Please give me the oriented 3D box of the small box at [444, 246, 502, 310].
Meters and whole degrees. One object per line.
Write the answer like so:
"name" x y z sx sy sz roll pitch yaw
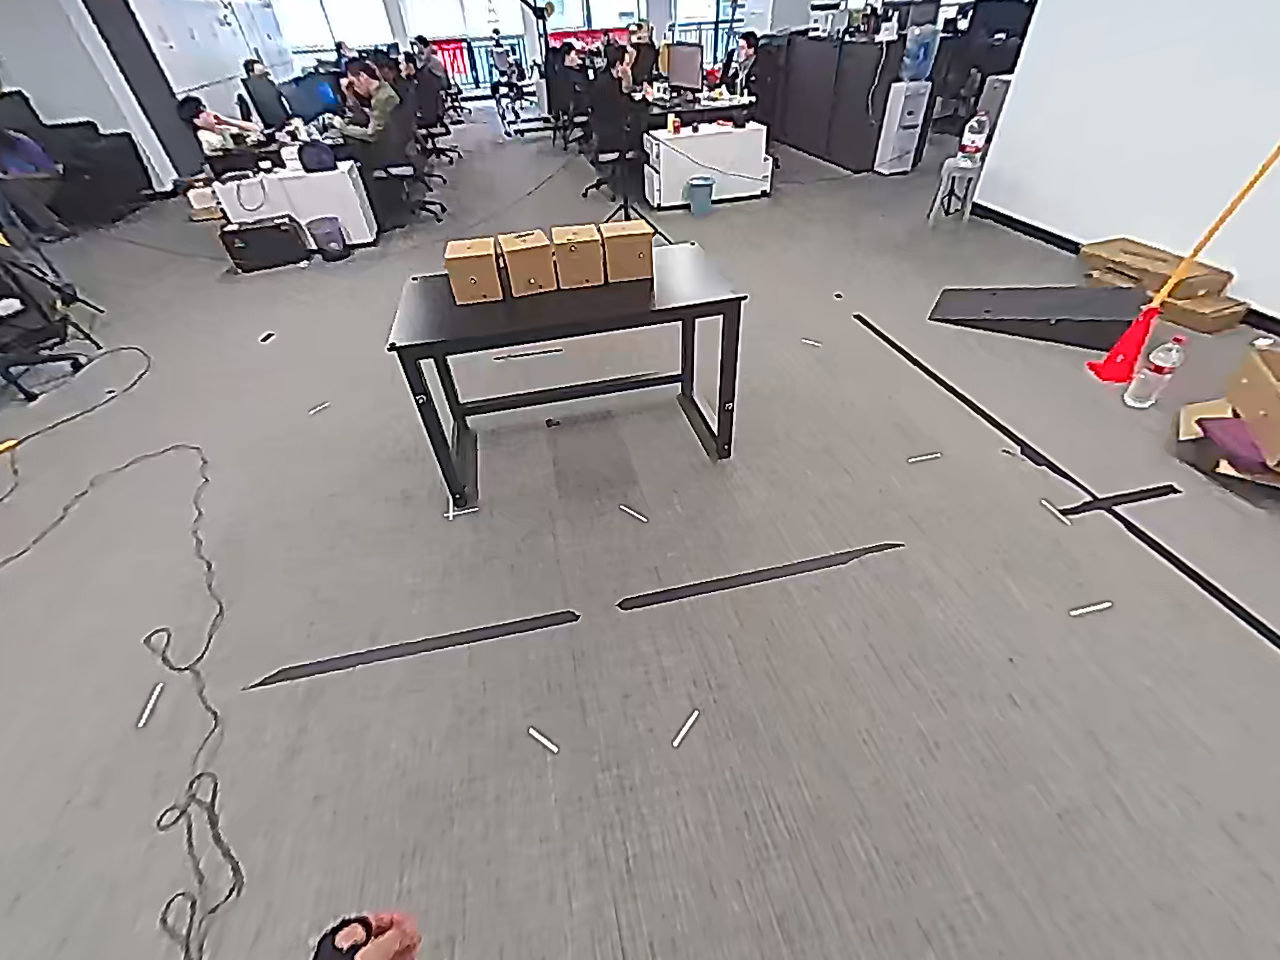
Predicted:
"small box" -0.602 -0.731 1.969 0.168 0.176 0.179 -9 41 -6
